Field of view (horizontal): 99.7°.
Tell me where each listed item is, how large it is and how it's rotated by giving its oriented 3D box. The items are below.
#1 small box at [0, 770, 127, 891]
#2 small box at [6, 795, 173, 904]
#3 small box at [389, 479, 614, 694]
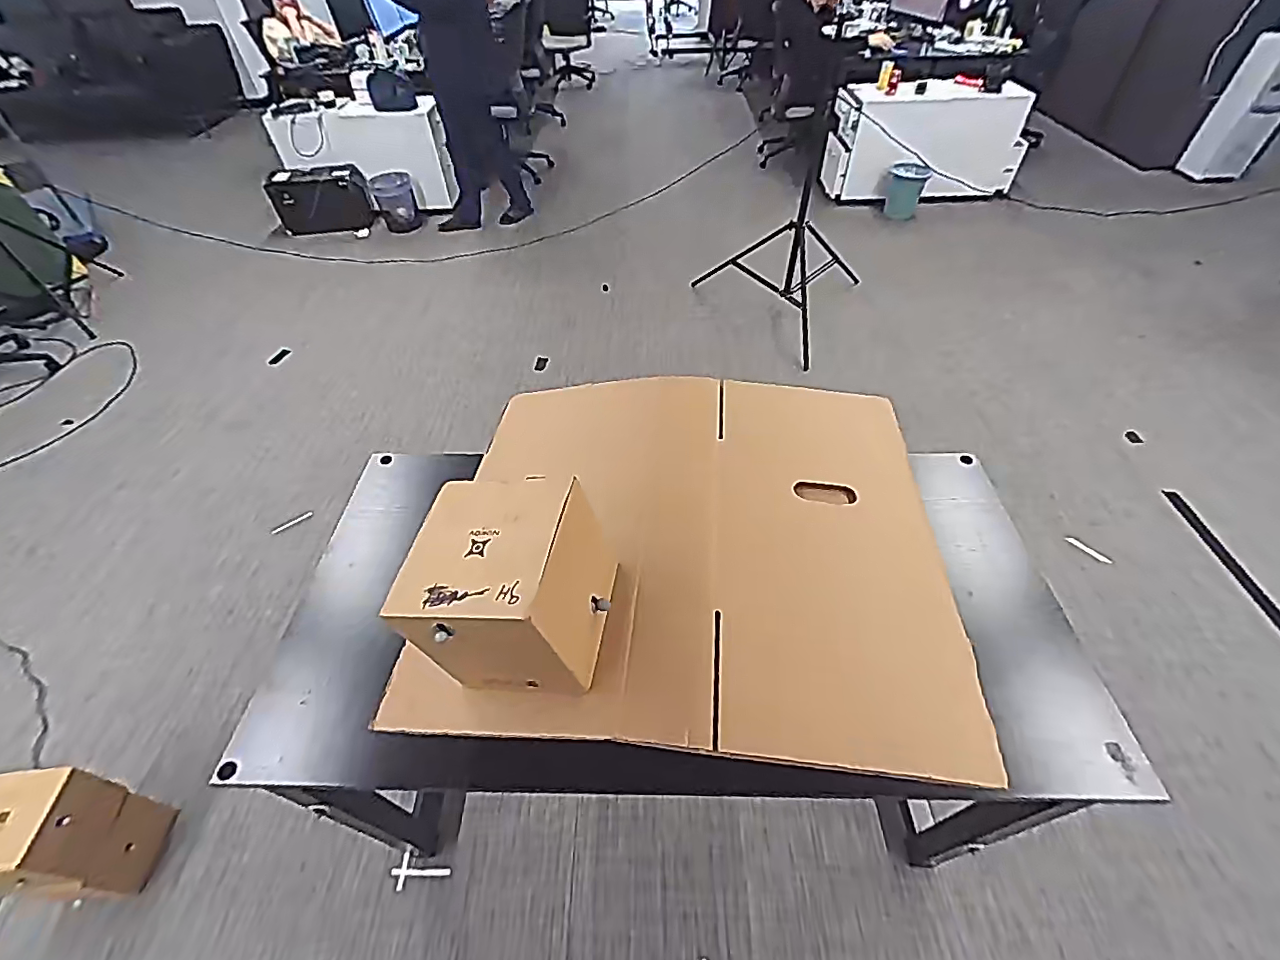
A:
[{"bbox_3d":[-1.214,0.713,1.094,0.168,0.176,0.179,-5,46,-4],"label":"small box"},{"bbox_3d":[-1.208,0.827,1.210,0.168,0.176,0.179,-3,48,-1],"label":"small box"},{"bbox_3d":[-0.137,0.120,0.616,0.168,0.176,0.179,-4,46,17],"label":"small box"}]
